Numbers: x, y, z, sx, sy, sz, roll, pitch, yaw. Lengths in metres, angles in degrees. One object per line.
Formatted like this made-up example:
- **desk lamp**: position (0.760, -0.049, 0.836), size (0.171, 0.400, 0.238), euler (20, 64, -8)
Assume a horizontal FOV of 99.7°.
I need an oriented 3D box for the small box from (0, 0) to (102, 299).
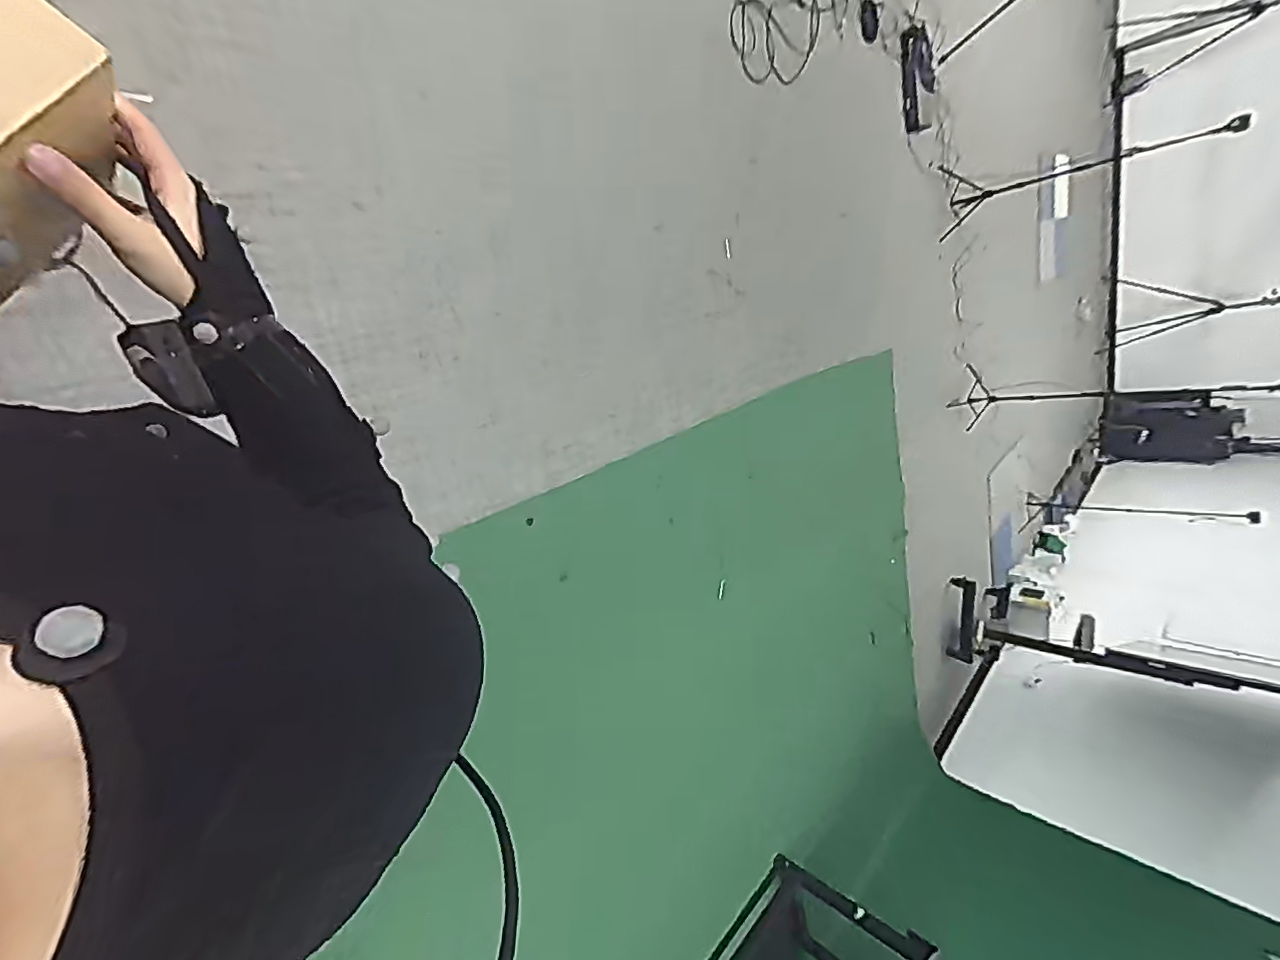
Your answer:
- **small box**: position (-0.411, -0.185, 0.262), size (0.168, 0.176, 0.179), euler (37, 65, -36)
